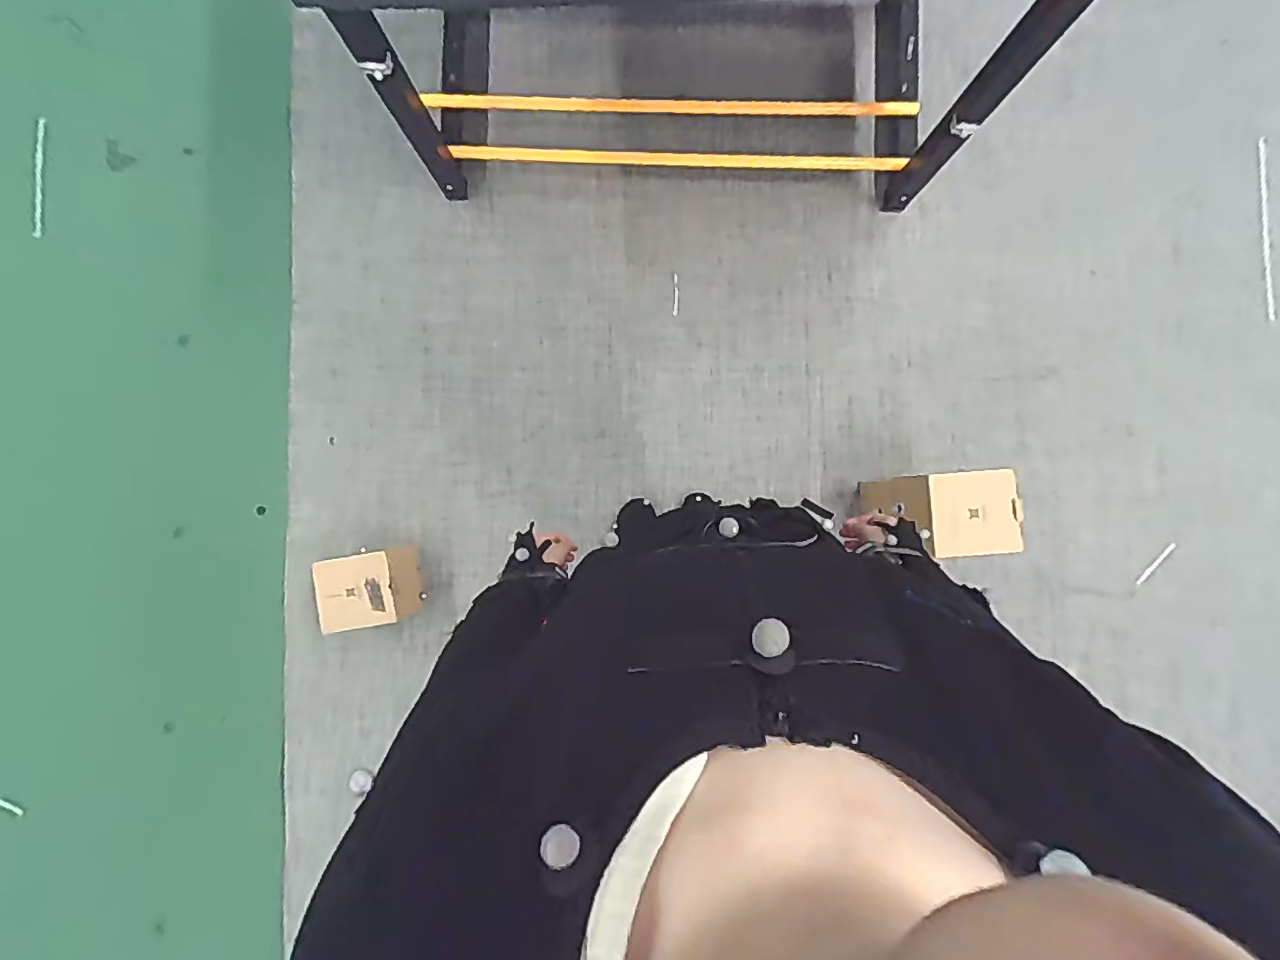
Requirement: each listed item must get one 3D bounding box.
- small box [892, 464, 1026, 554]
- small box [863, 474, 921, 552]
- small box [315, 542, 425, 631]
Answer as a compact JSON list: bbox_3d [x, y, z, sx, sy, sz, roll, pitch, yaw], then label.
[{"bbox_3d":[0.654,0.058,1.125,0.179,0.176,0.168,-5,87,1],"label":"small box"},{"bbox_3d":[0.650,0.074,1.289,0.168,0.176,0.179,-5,88,0],"label":"small box"},{"bbox_3d":[-0.632,0.247,1.290,0.179,0.176,0.168,-10,88,1],"label":"small box"}]
